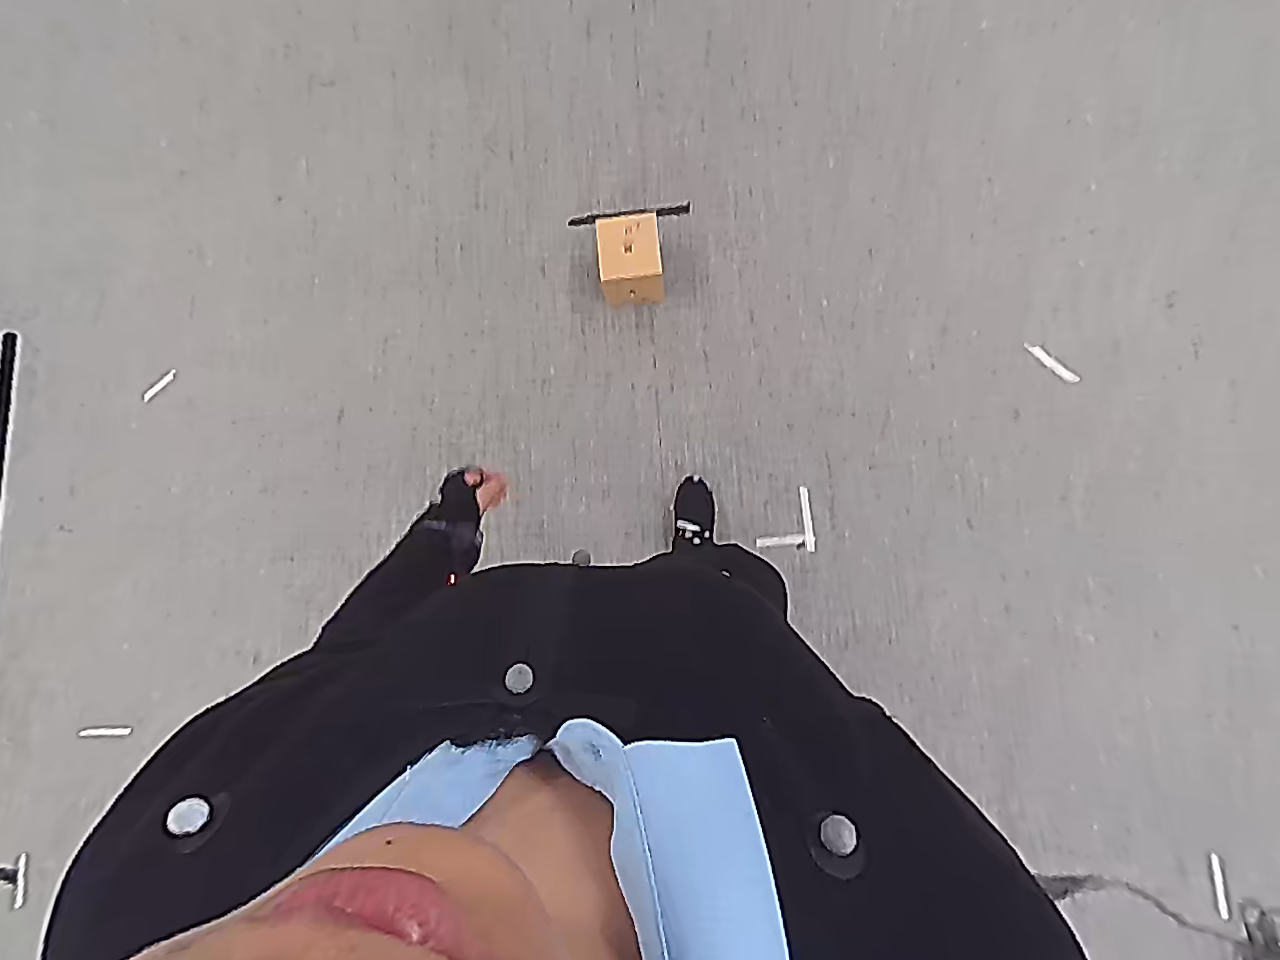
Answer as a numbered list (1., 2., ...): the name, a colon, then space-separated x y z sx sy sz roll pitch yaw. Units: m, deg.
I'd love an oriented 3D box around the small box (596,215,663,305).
1. small box: -0.025 -0.601 1.504 0.168 0.176 0.179 -6 82 3
